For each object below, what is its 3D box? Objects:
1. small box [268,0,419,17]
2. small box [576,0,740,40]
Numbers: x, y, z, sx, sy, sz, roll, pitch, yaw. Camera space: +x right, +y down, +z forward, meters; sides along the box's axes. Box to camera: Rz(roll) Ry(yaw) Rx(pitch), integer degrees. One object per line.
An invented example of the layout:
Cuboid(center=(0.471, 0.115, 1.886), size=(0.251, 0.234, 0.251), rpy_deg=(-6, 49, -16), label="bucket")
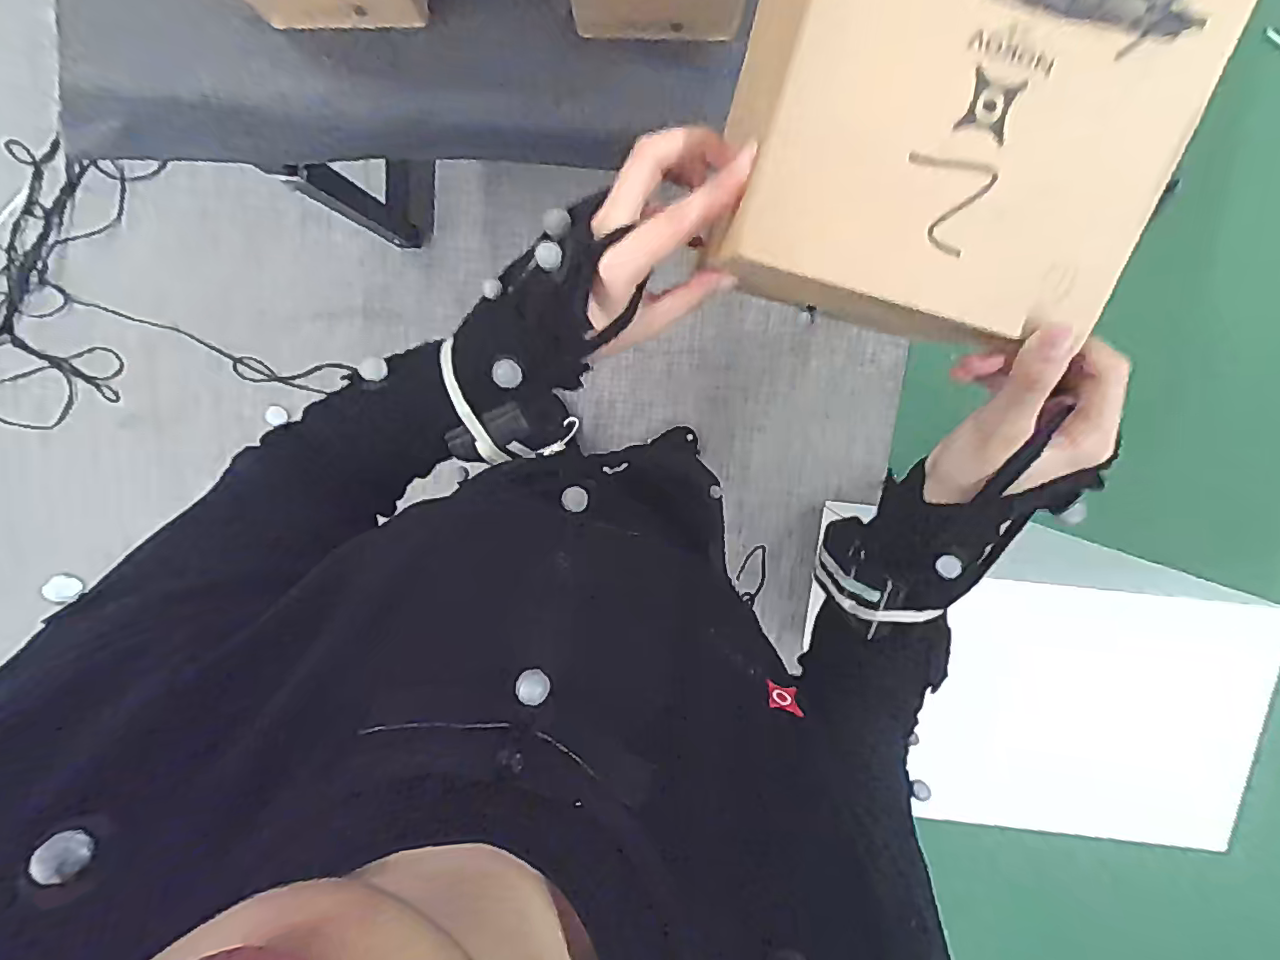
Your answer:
Cuboid(center=(-0.306, -0.551, 0.471), size=(0.168, 0.176, 0.179), rpy_deg=(1, 99, 1), label="small box")
Cuboid(center=(0.018, -0.536, 0.469), size=(0.168, 0.176, 0.179), rpy_deg=(2, 98, 0), label="small box")
